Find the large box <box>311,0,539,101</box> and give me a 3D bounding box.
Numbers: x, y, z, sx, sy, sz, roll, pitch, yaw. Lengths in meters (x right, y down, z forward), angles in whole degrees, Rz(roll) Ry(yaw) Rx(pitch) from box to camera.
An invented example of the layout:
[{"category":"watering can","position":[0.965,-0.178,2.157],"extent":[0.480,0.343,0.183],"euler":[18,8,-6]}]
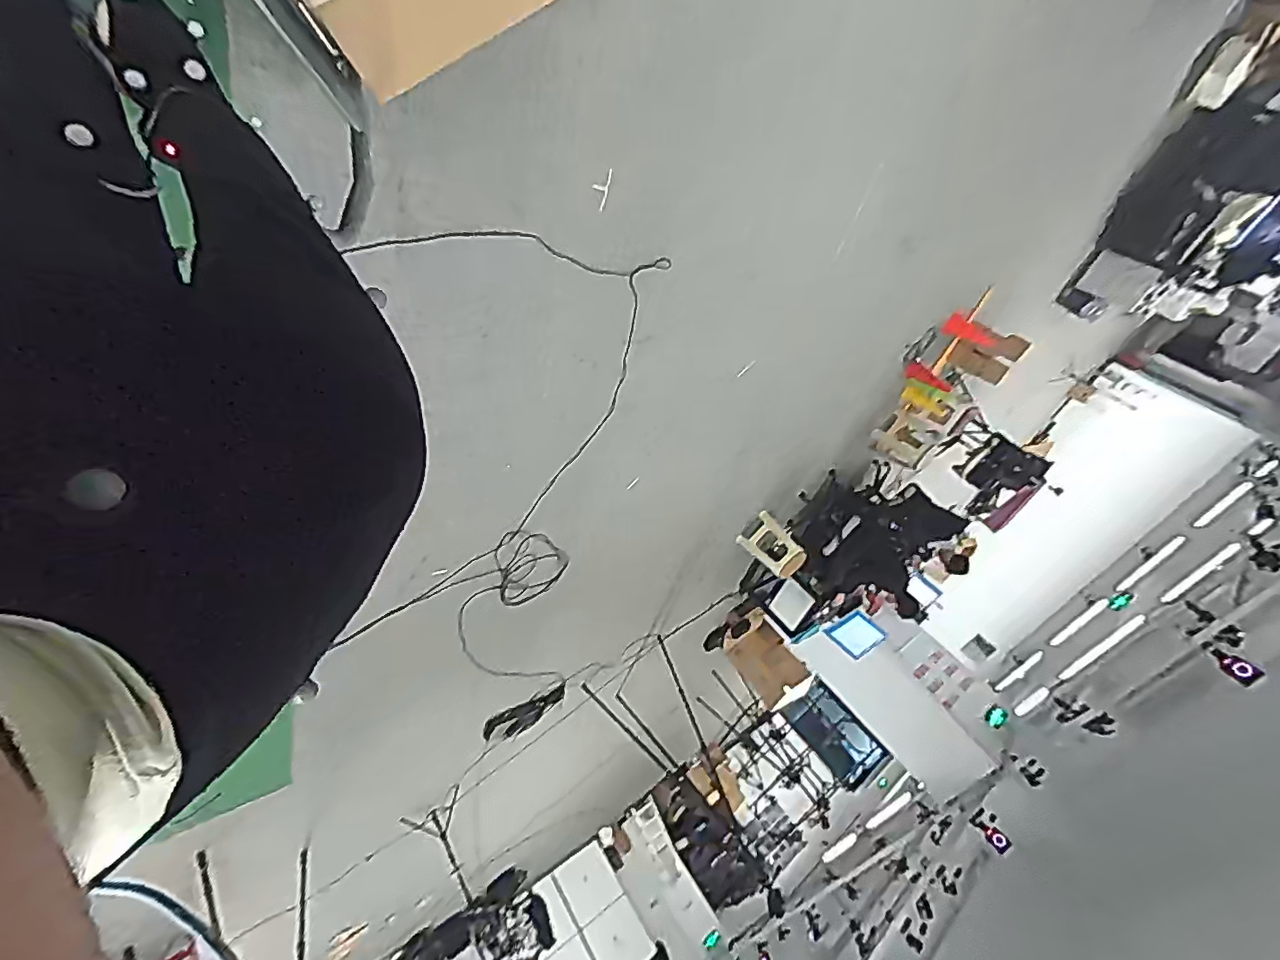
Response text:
[{"category":"large box","position":[-0.377,-0.925,0.866],"extent":[0.408,0.320,0.320],"euler":[-29,149,4]}]
